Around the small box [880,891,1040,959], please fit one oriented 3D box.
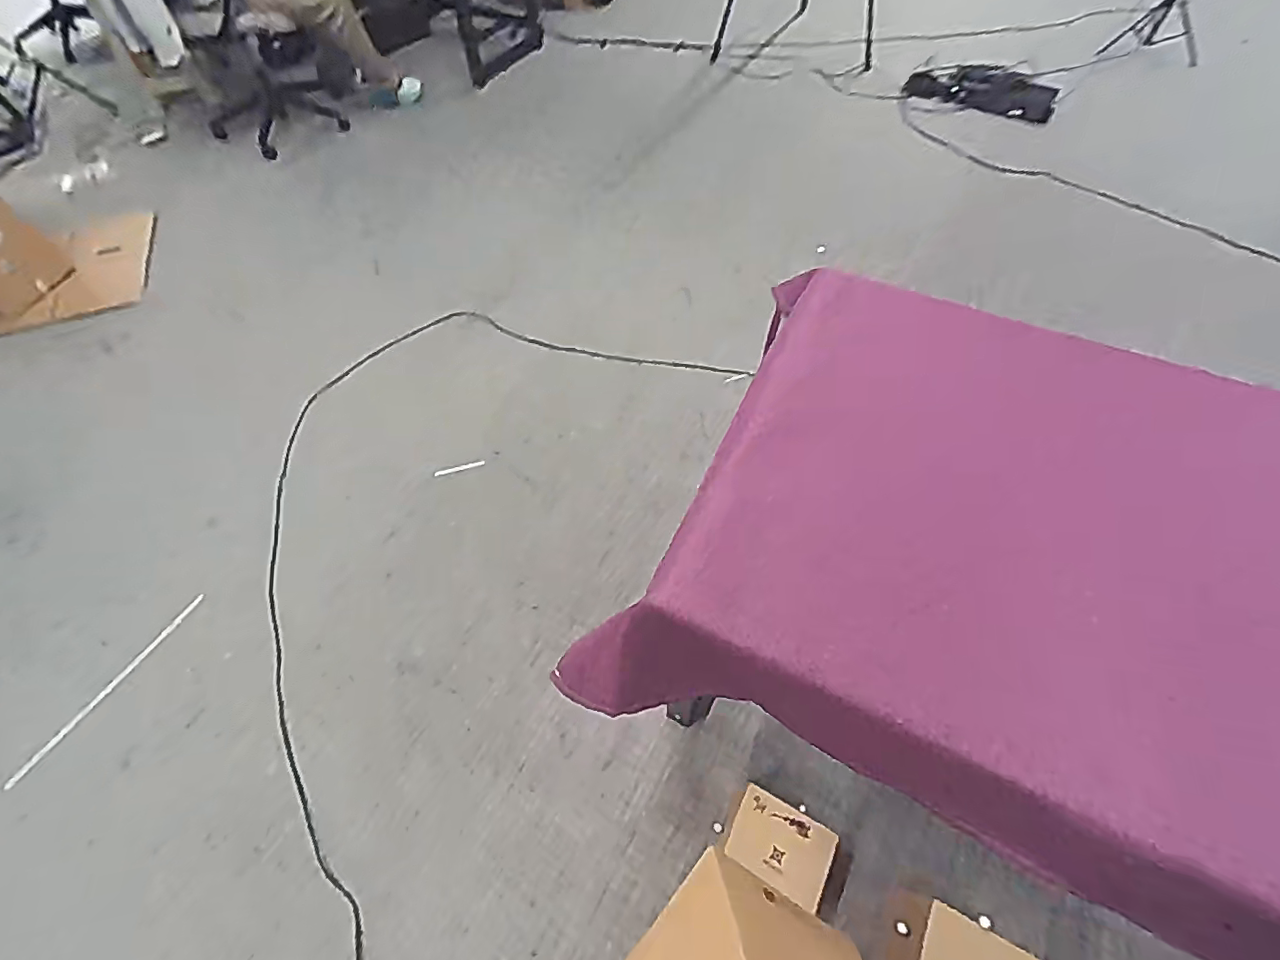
[{"bbox_3d":[0.510,0.809,0.882,0.179,0.176,0.168,24,62,17],"label":"small box"}]
